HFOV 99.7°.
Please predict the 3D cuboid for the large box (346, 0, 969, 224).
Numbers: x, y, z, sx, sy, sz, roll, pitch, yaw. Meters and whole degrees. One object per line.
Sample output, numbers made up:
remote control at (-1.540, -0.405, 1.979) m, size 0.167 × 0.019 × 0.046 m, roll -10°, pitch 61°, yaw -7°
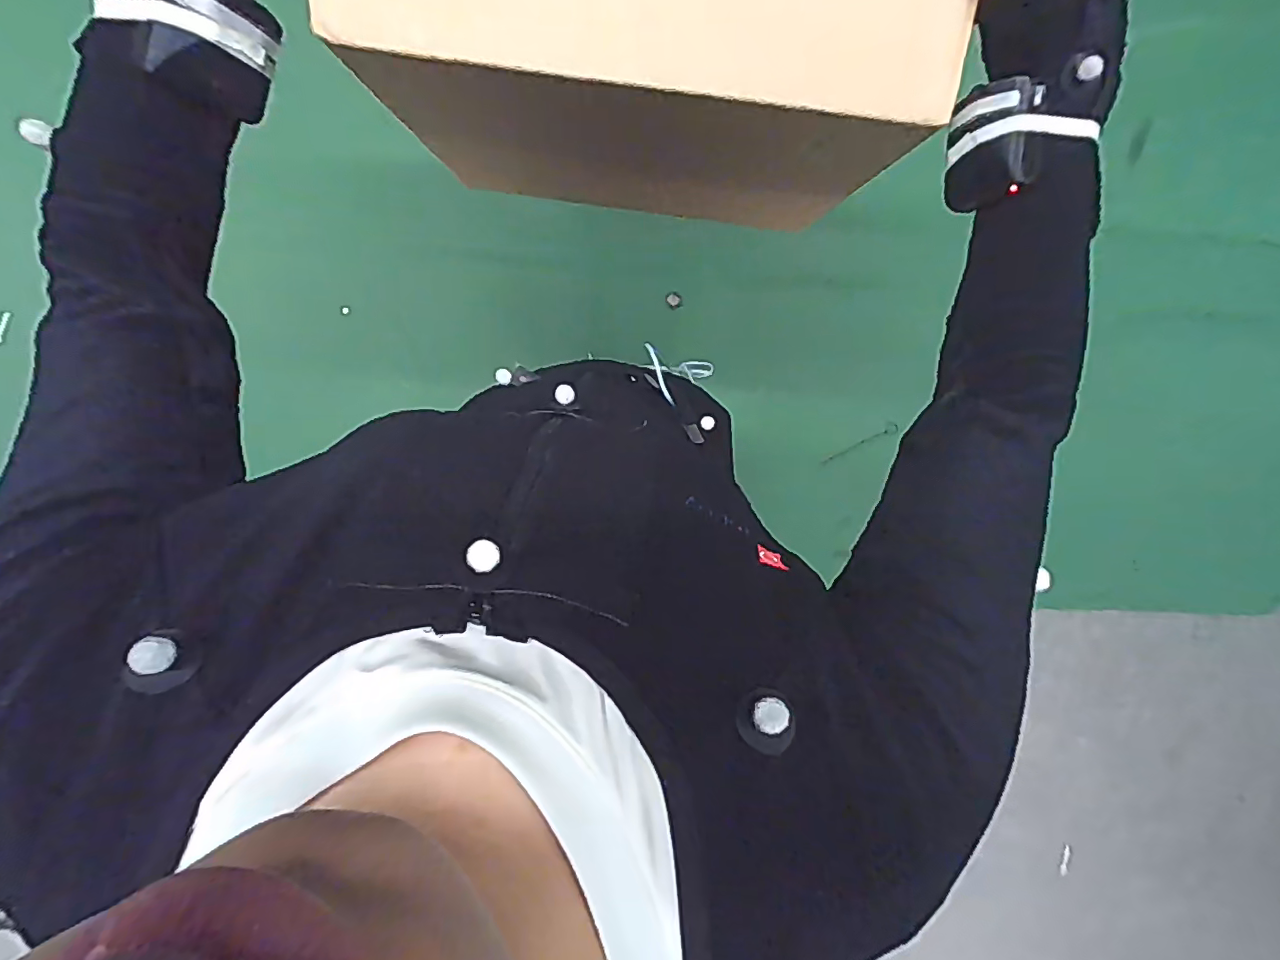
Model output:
large box at (0.018, -0.440, 0.467) m, size 0.408 × 0.320 × 0.320 m, roll 6°, pitch 103°, yaw -4°
